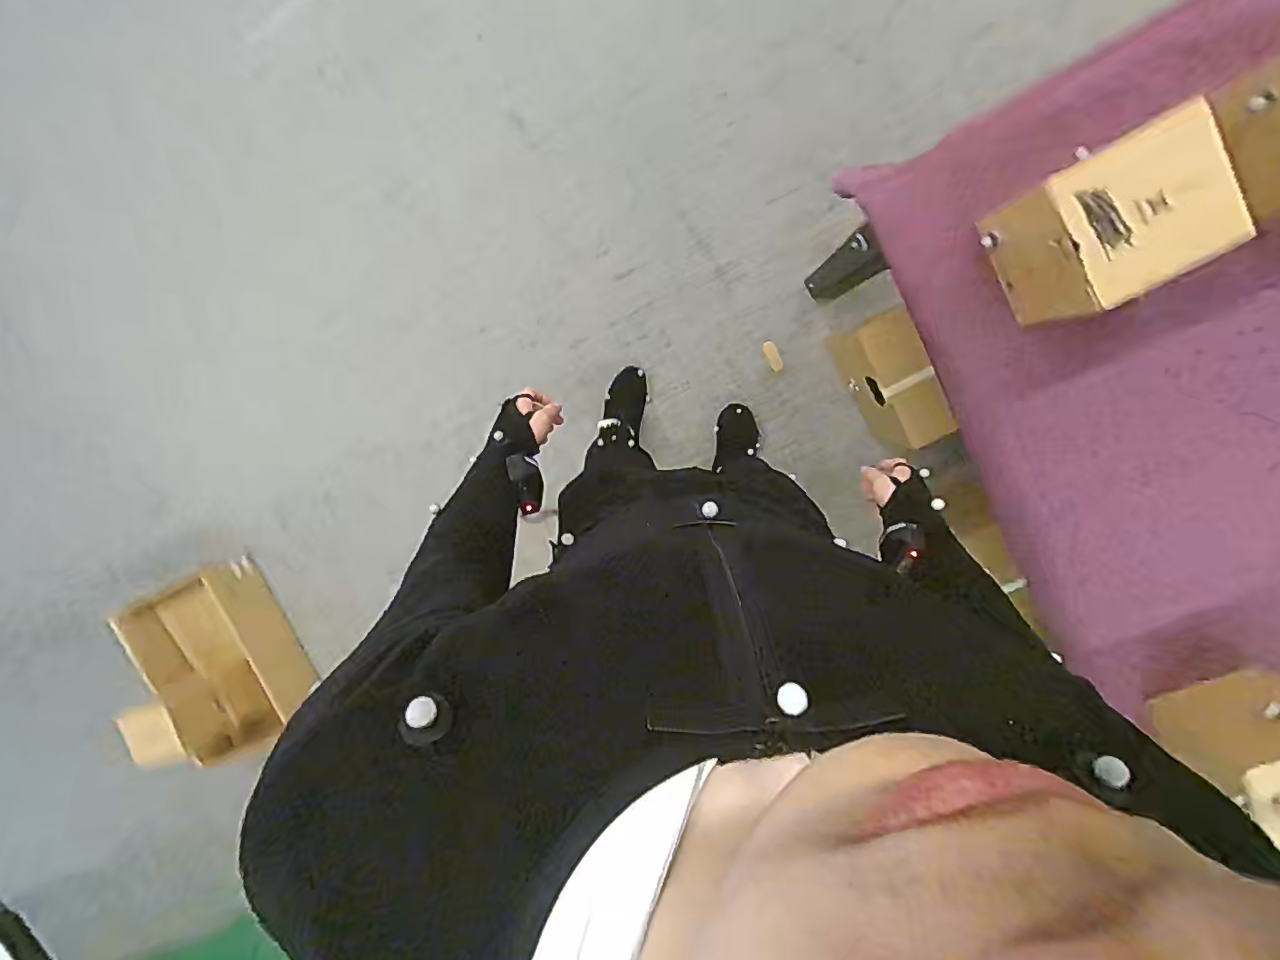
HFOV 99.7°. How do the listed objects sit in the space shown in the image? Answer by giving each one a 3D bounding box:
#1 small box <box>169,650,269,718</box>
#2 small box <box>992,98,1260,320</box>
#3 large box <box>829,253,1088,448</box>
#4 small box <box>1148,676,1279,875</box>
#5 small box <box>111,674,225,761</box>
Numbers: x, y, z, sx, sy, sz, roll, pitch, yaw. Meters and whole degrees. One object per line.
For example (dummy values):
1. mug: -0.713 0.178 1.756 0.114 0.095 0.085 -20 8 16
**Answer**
1. small box: -1.390 0.689 1.791 0.179 0.176 0.168 -19 94 8
2. small box: 0.592 -0.323 0.691 0.179 0.176 0.168 -27 96 9
3. large box: 0.755 -0.317 1.350 0.408 0.320 0.320 -28 96 9
4. small box: 0.911 0.415 0.781 0.179 0.176 0.168 -23 95 7
5. small box: -1.415 0.711 1.632 0.179 0.176 0.168 -15 95 8
